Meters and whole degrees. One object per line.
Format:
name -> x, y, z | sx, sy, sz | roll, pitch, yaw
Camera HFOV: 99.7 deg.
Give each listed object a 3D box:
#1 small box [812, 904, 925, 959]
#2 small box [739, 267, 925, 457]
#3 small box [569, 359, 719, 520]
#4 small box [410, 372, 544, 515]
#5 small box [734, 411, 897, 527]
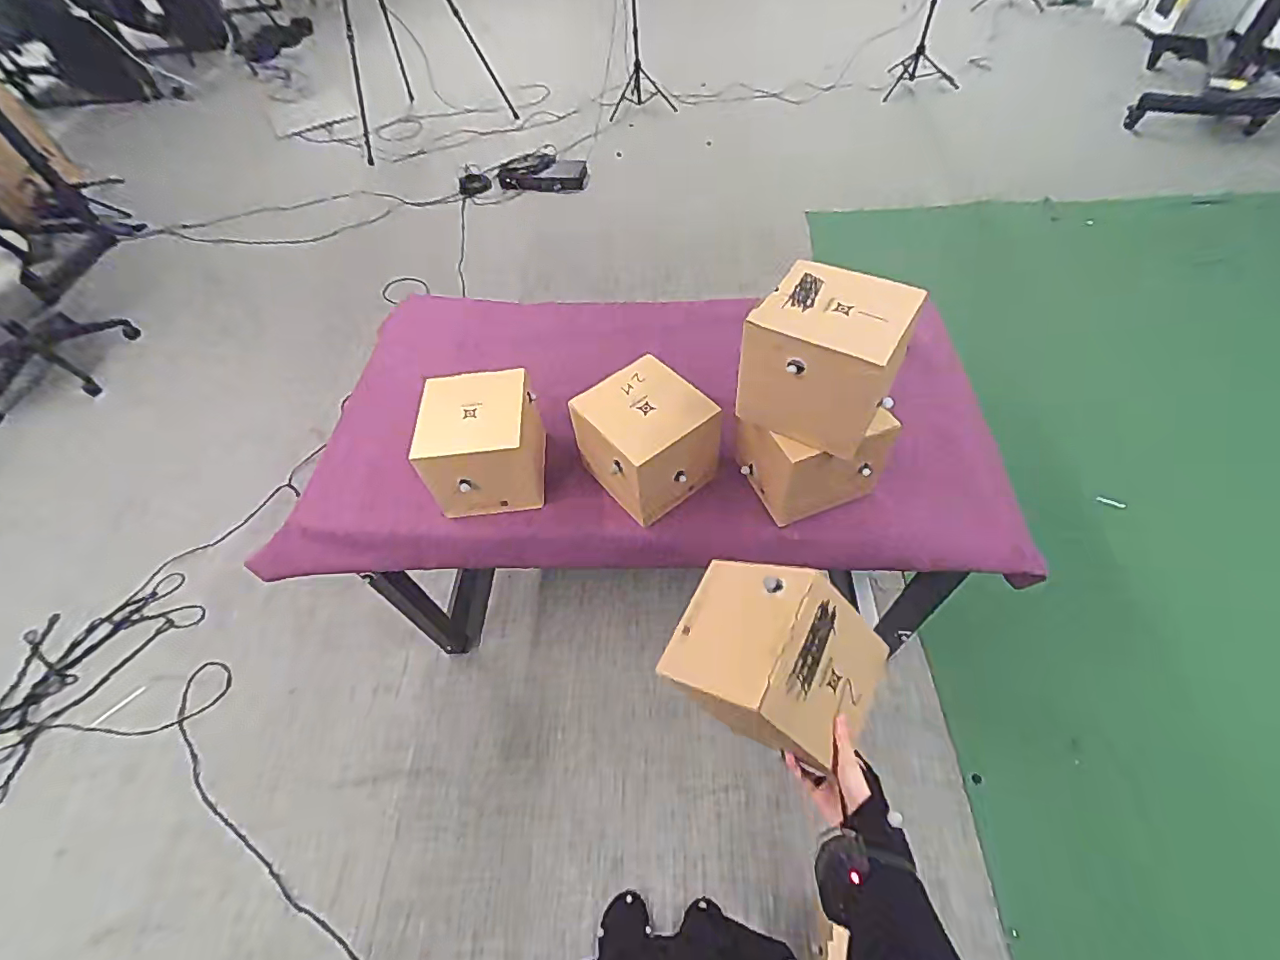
small box -> 0.429, 0.935, 1.034 | 0.179, 0.176, 0.168 | 8, 55, 10
small box -> 0.250, -0.159, 0.740 | 0.179, 0.176, 0.168 | 26, 58, 23
small box -> 0.010, -0.058, 0.885 | 0.168, 0.176, 0.179 | -34, 58, -20
small box -> -0.258, -0.053, 0.904 | 0.168, 0.176, 0.179 | -6, 52, 0
small box -> 0.265, -0.053, 0.864 | 0.179, 0.176, 0.168 | -19, 53, -9
